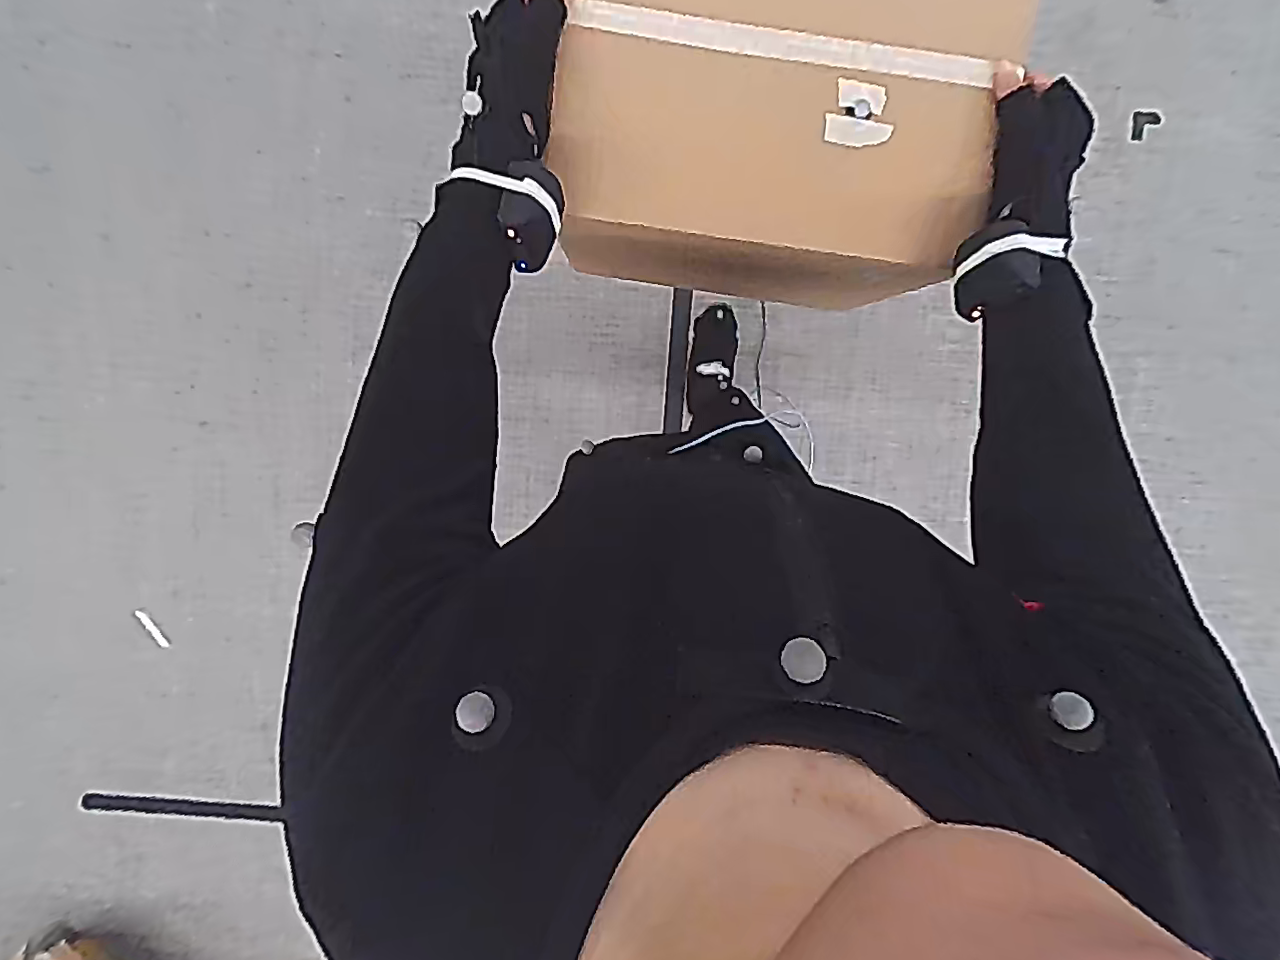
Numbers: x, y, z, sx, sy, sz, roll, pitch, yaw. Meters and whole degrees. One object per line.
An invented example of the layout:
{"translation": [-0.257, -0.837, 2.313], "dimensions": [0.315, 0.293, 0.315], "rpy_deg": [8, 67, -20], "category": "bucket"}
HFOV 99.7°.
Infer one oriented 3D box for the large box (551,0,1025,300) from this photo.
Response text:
{"translation": [0.125, -0.409, 0.621], "dimensions": [0.408, 0.320, 0.320], "rpy_deg": [7, 101, -3], "category": "large box"}
